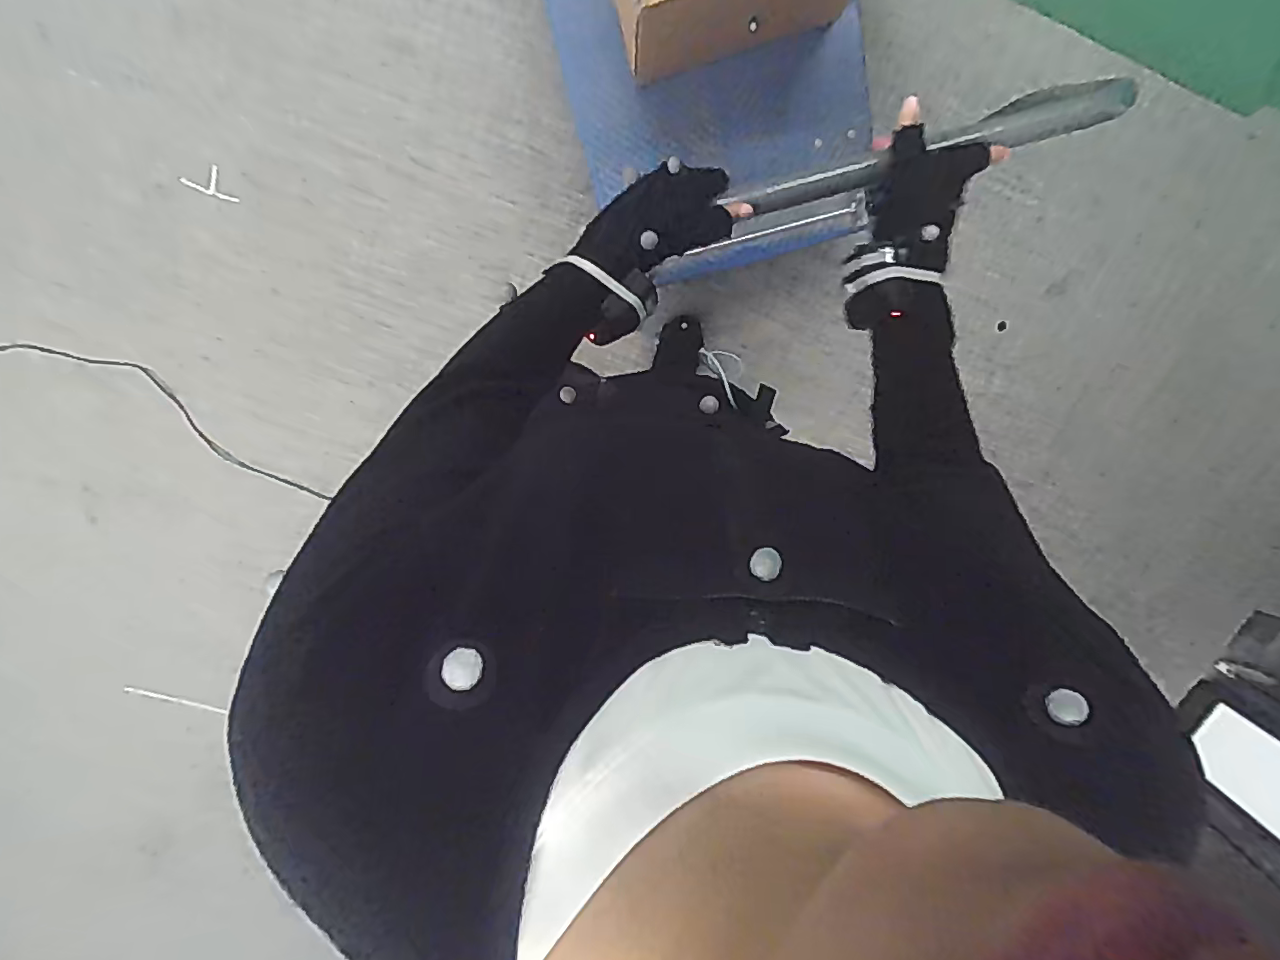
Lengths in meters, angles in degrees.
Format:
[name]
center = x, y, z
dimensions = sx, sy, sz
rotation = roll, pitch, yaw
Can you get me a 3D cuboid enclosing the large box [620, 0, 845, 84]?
[large box]
center = 0.152, -0.926, 0.869
dimensions = 0.408, 0.320, 0.320
rotation = -16, 107, 5
